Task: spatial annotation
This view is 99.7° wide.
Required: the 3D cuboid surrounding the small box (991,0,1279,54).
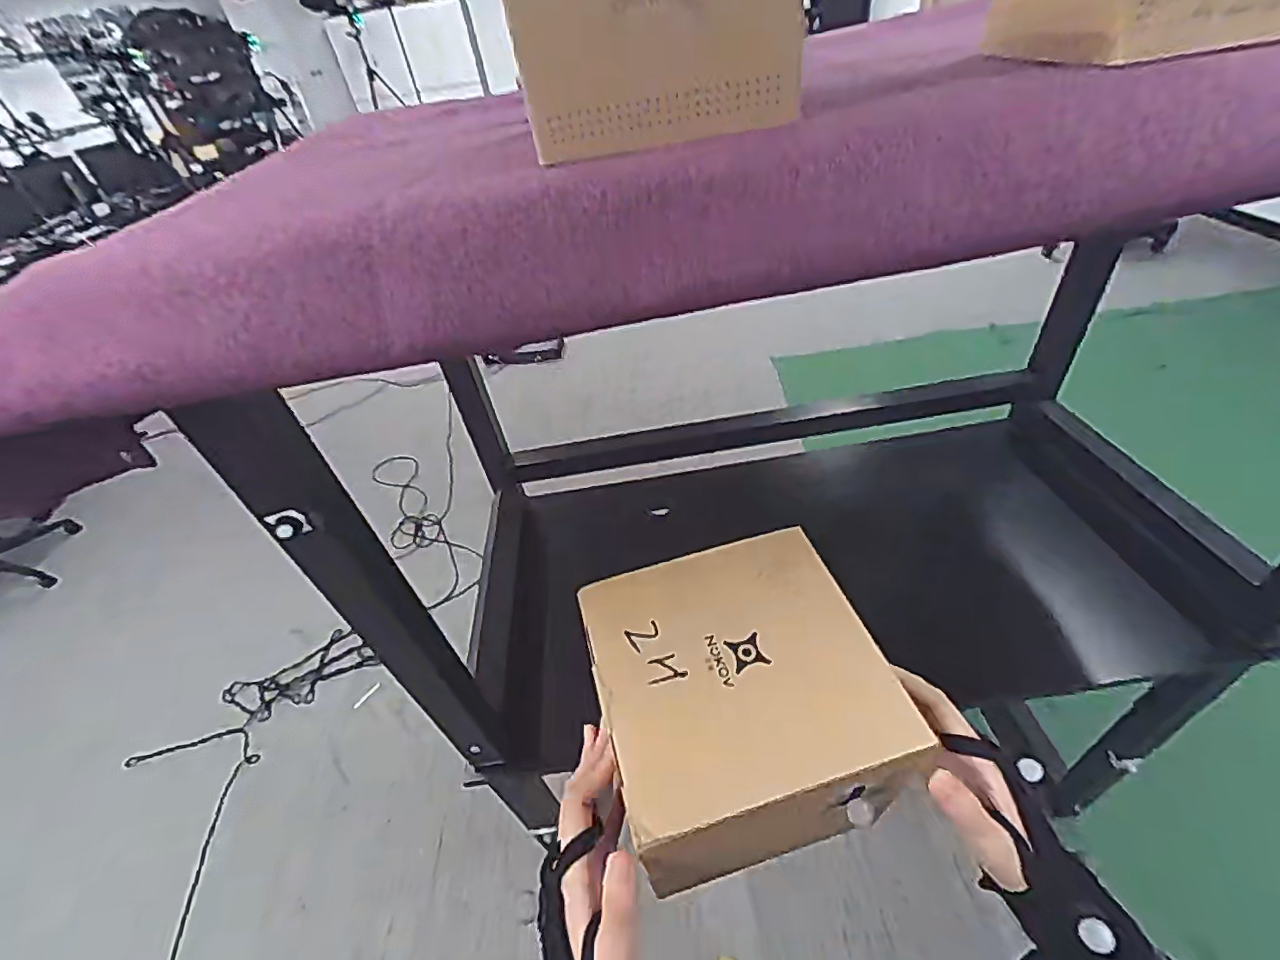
[{"bbox_3d":[0.363,-0.387,0.341,0.168,0.176,0.179,-6,40,5],"label":"small box"}]
